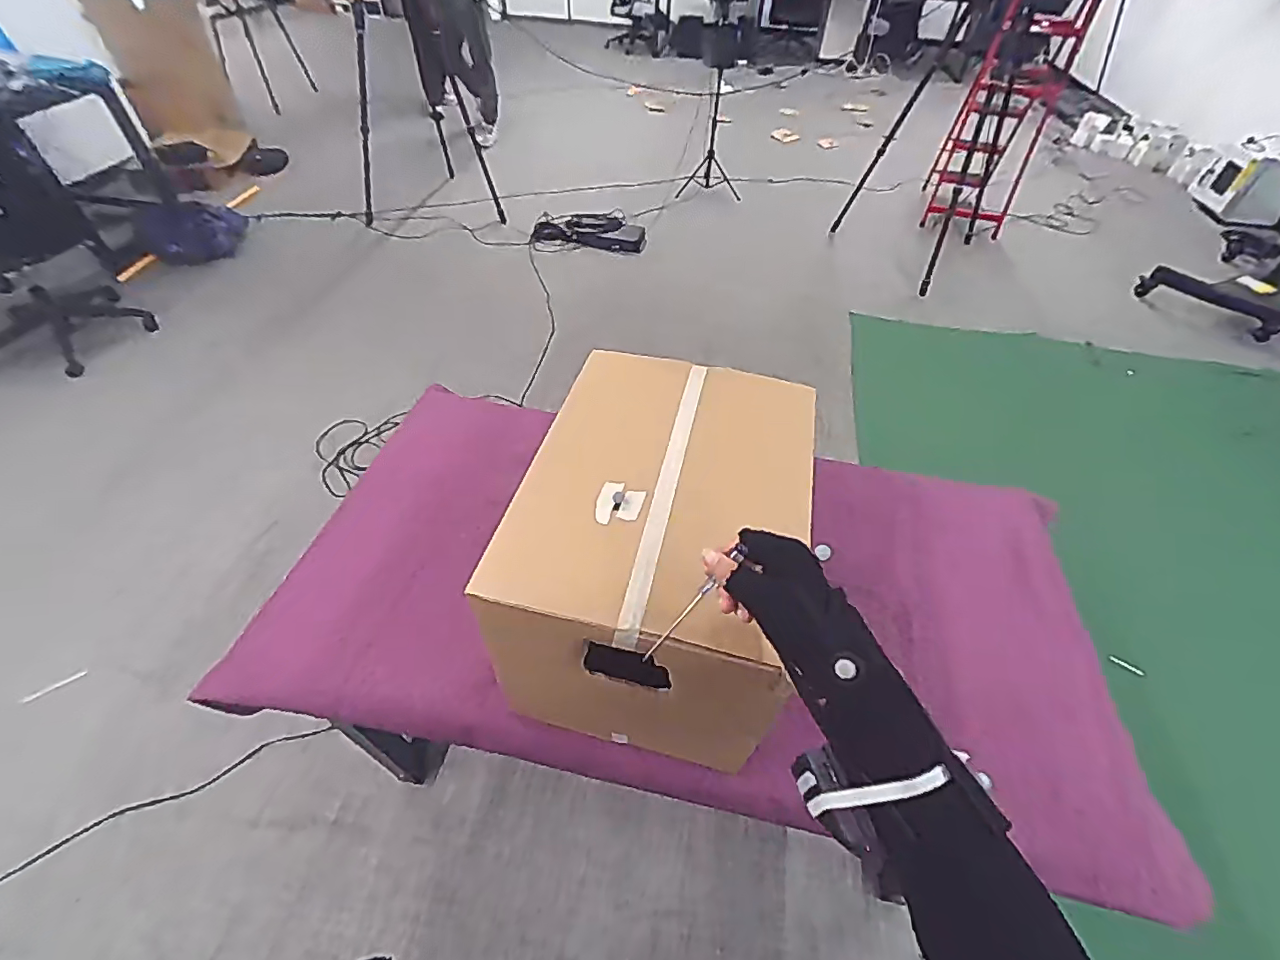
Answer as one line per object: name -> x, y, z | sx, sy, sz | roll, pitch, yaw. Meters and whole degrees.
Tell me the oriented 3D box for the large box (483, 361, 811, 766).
large box -> 0.031, 0.102, 0.736 | 0.320, 0.320, 0.408 | 12, 49, 8
